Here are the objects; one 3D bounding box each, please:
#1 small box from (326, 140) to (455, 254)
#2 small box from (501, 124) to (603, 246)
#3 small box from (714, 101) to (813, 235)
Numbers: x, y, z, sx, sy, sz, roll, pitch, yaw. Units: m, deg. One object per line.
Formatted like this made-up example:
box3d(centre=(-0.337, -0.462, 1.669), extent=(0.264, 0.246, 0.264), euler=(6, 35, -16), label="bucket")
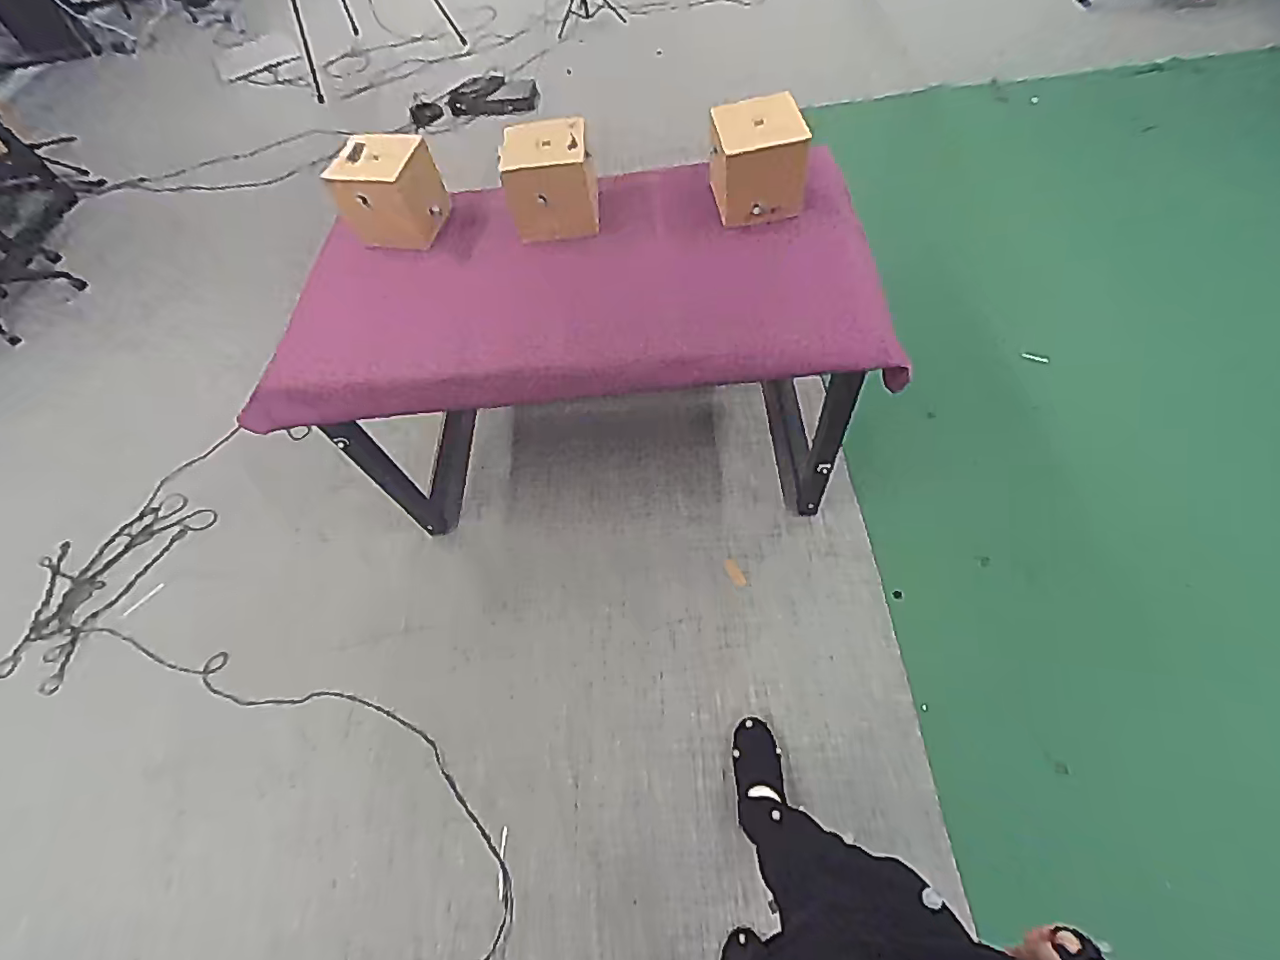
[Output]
box3d(centre=(-0.551, -0.634, 1.220), extent=(0.179, 0.176, 0.168), euler=(7, 62, 10), label="small box")
box3d(centre=(-0.183, -0.633, 1.176), extent=(0.179, 0.176, 0.168), euler=(-5, 60, 5), label="small box")
box3d(centre=(0.248, -0.648, 1.131), extent=(0.168, 0.176, 0.179), euler=(-9, 60, 4), label="small box")
